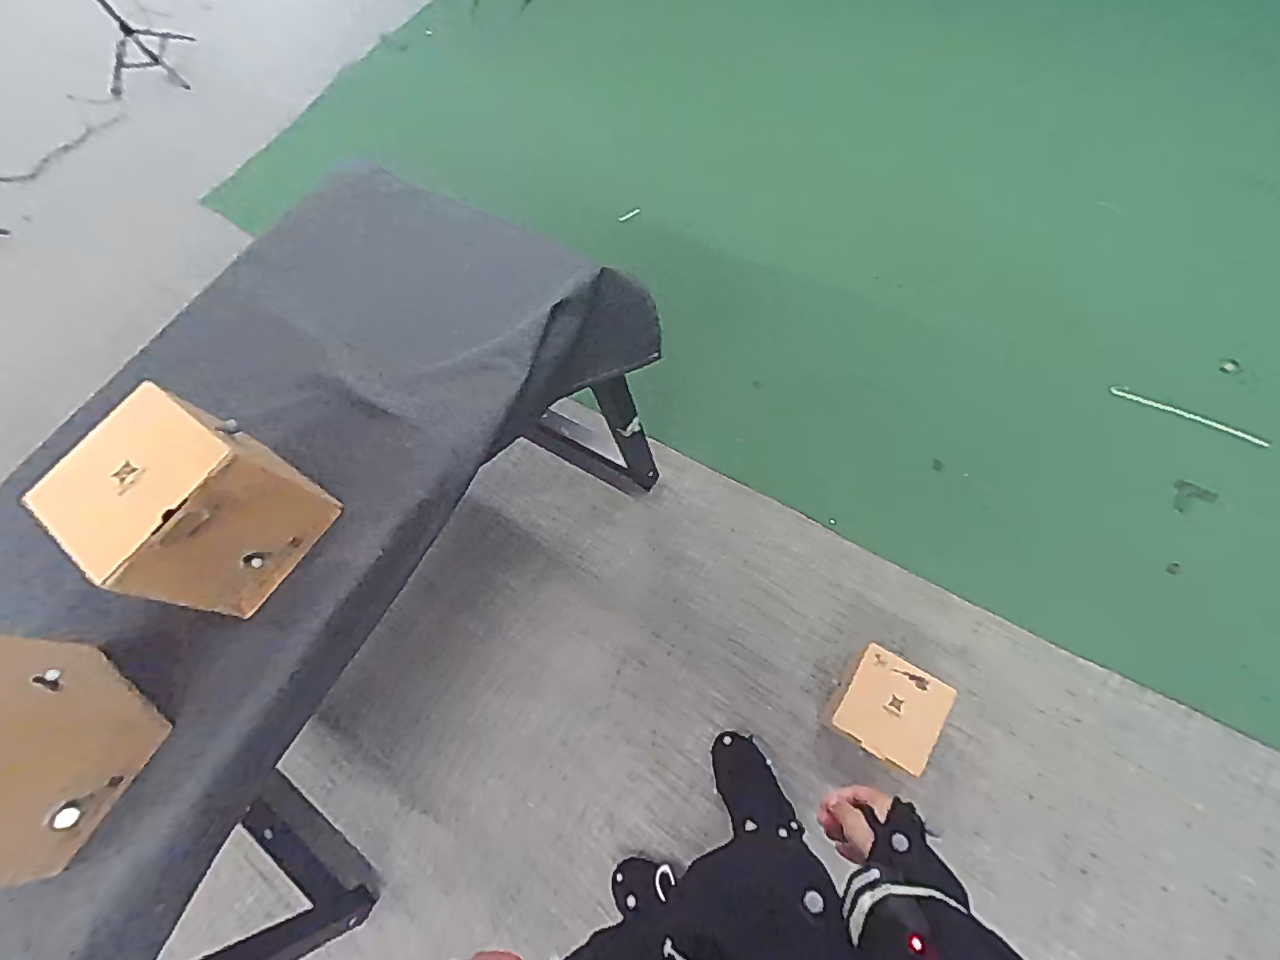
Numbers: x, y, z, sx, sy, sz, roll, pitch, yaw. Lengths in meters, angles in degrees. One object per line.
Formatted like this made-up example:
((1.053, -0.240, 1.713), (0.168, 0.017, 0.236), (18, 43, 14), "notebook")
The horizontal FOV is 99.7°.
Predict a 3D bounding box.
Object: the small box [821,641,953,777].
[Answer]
((0.471, 0.443, 1.059), (0.168, 0.176, 0.179), (29, 75, 20), "small box")

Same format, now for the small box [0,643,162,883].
((-0.641, 0.272, 0.524), (0.179, 0.176, 0.168), (26, 74, 19), "small box")

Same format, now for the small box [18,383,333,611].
((-0.502, 0.028, 0.609), (0.179, 0.176, 0.168), (29, 74, 20), "small box")
